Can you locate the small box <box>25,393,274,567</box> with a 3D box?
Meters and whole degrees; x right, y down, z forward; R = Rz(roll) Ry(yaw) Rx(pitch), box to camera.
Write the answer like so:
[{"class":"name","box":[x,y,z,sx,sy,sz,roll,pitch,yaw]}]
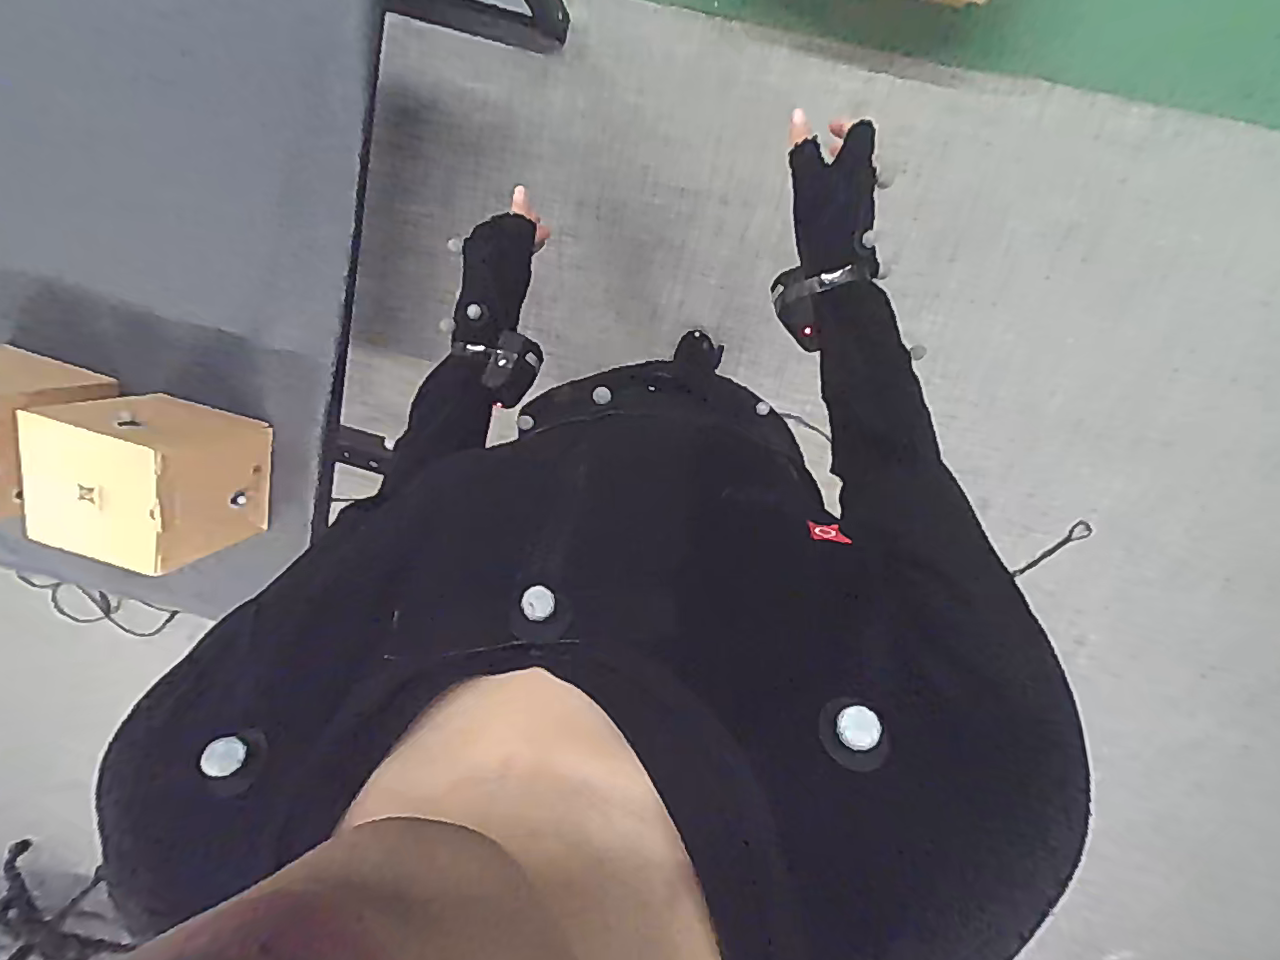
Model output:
[{"class":"small box","box":[-0.628,-0.013,0.709,0.179,0.176,0.168,16,106,3]}]
